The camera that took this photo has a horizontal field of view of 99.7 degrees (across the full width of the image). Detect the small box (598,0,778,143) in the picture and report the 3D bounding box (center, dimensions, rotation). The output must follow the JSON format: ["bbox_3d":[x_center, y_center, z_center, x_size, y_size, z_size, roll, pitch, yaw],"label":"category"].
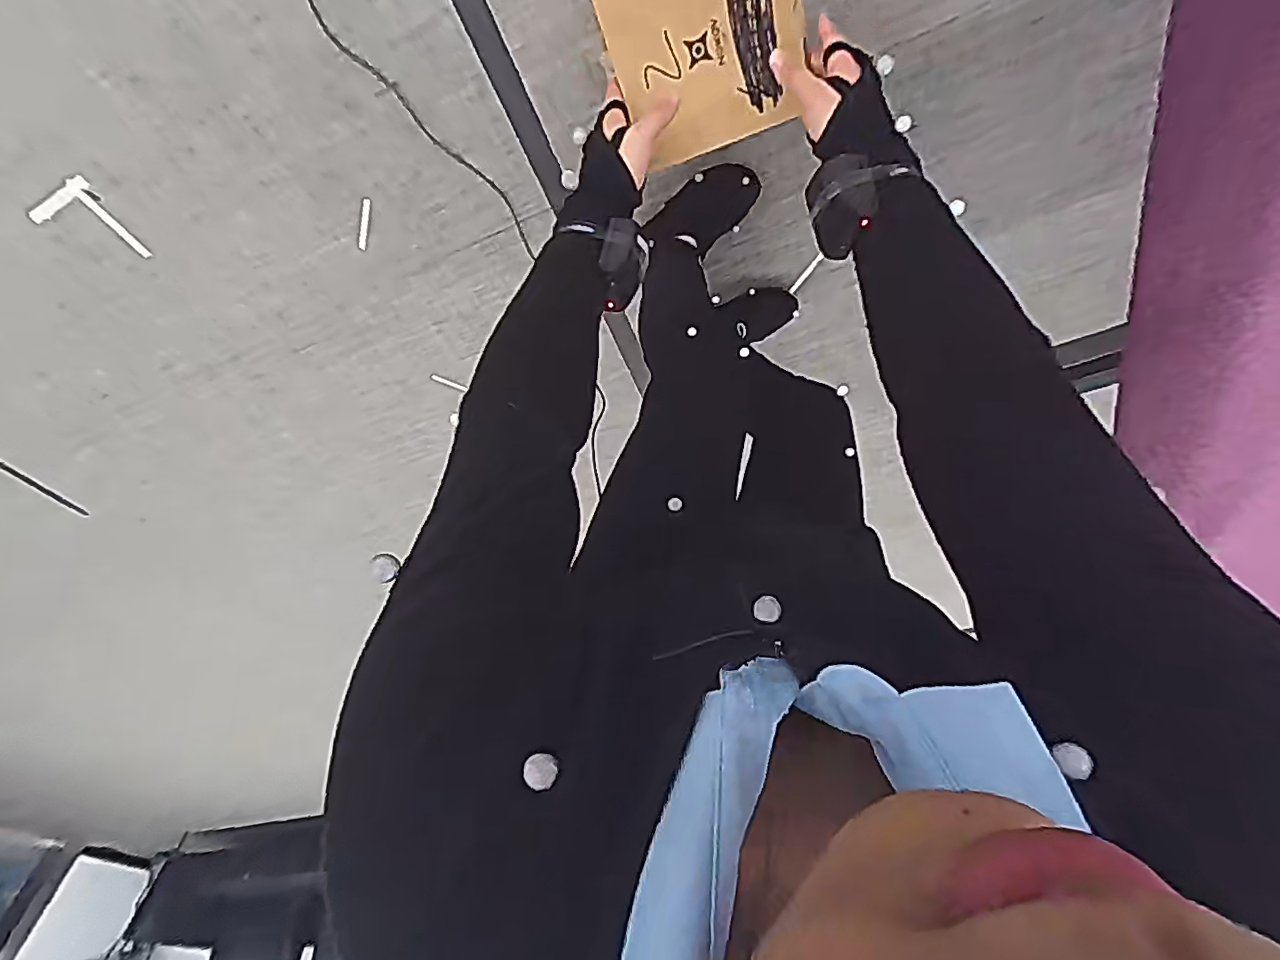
[{"bbox_3d":[0.056,-0.563,0.674,0.179,0.176,0.168,-16,132,15],"label":"small box"}]
